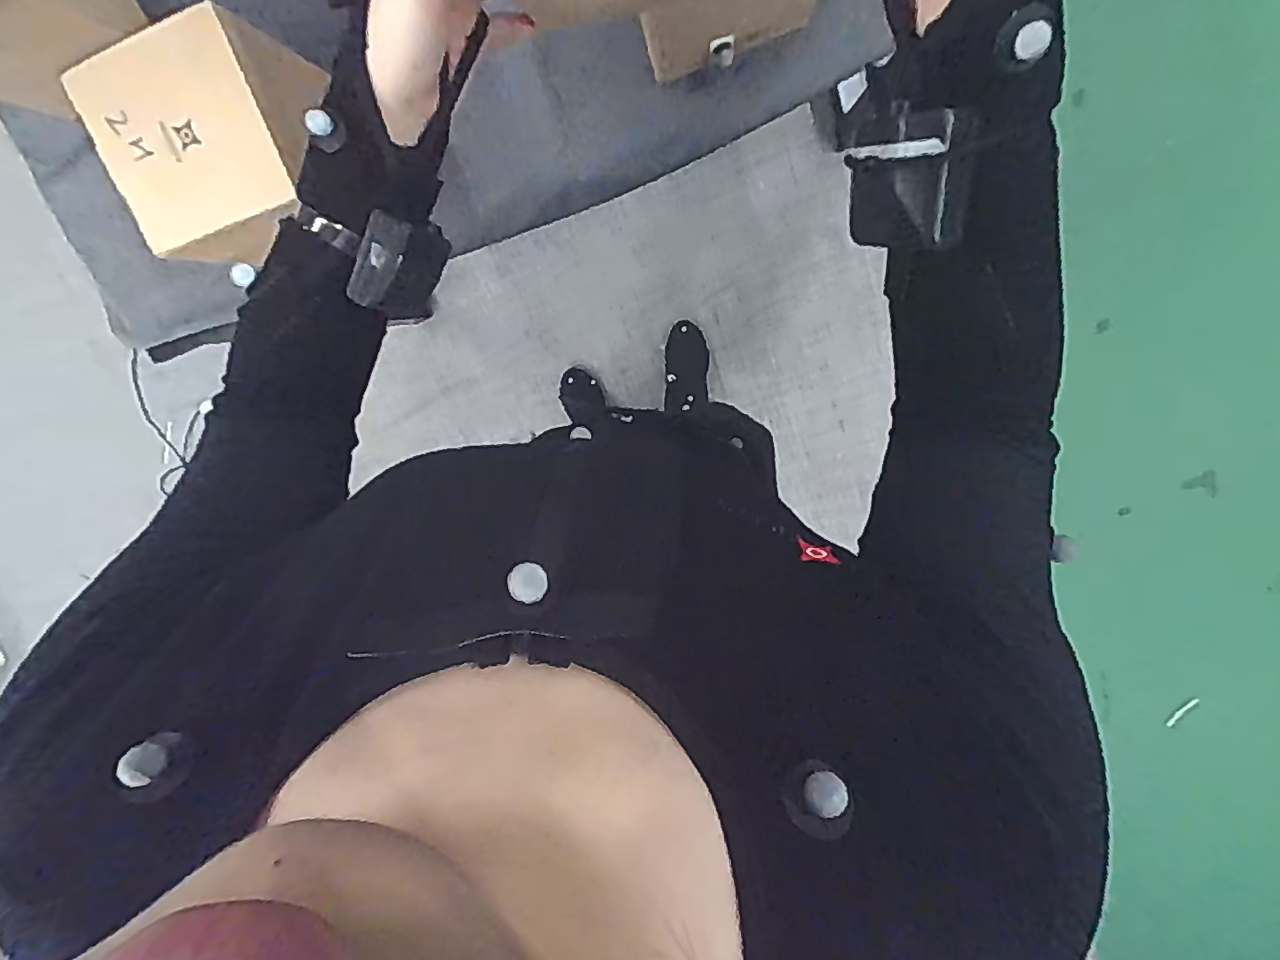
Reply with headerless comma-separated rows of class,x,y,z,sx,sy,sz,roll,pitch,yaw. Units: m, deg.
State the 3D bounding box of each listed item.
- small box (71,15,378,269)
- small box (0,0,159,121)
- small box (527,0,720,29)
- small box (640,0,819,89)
small box,-0.419,-0.340,0.587,0.179,0.176,0.168,-15,106,10
small box,-0.665,-0.517,0.555,0.168,0.176,0.179,-21,106,12
small box,0.007,-0.345,0.251,0.179,0.176,0.168,-5,118,9
small box,0.066,-0.502,0.483,0.168,0.176,0.179,-16,105,12
